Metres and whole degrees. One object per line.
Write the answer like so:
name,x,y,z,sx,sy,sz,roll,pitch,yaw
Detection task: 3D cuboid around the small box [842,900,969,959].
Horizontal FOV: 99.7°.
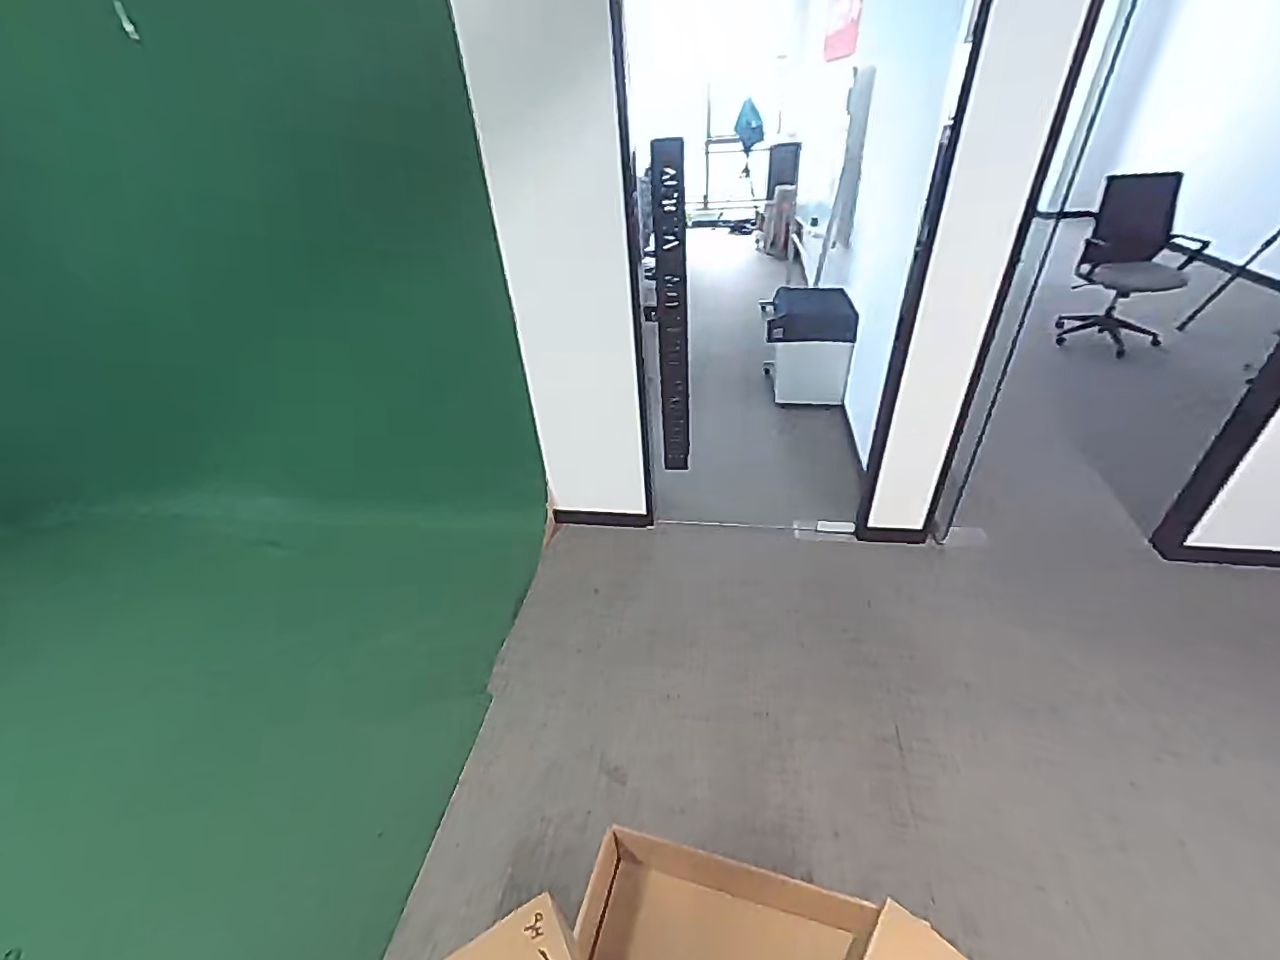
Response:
small box,0.289,0.600,0.559,0.179,0.176,0.168,27,43,31

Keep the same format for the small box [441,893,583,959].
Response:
small box,-0.141,0.637,0.617,0.179,0.176,0.168,-23,37,-20
